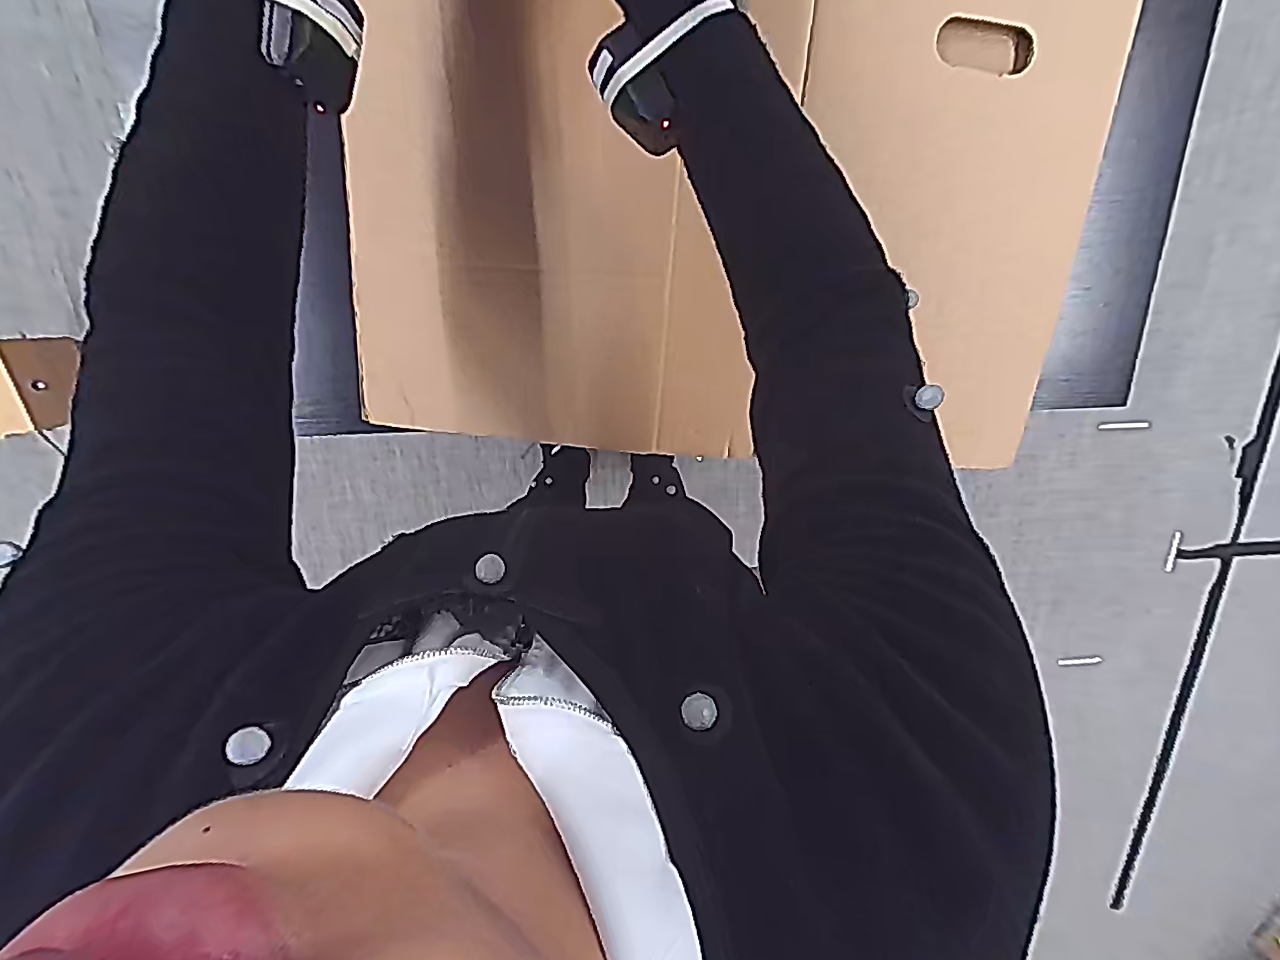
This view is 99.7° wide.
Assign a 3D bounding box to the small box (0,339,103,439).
[{"bbox_3d":[-1.242,-0.179,1.072,0.168,0.176,0.179,-10,106,-3],"label":"small box"}]
